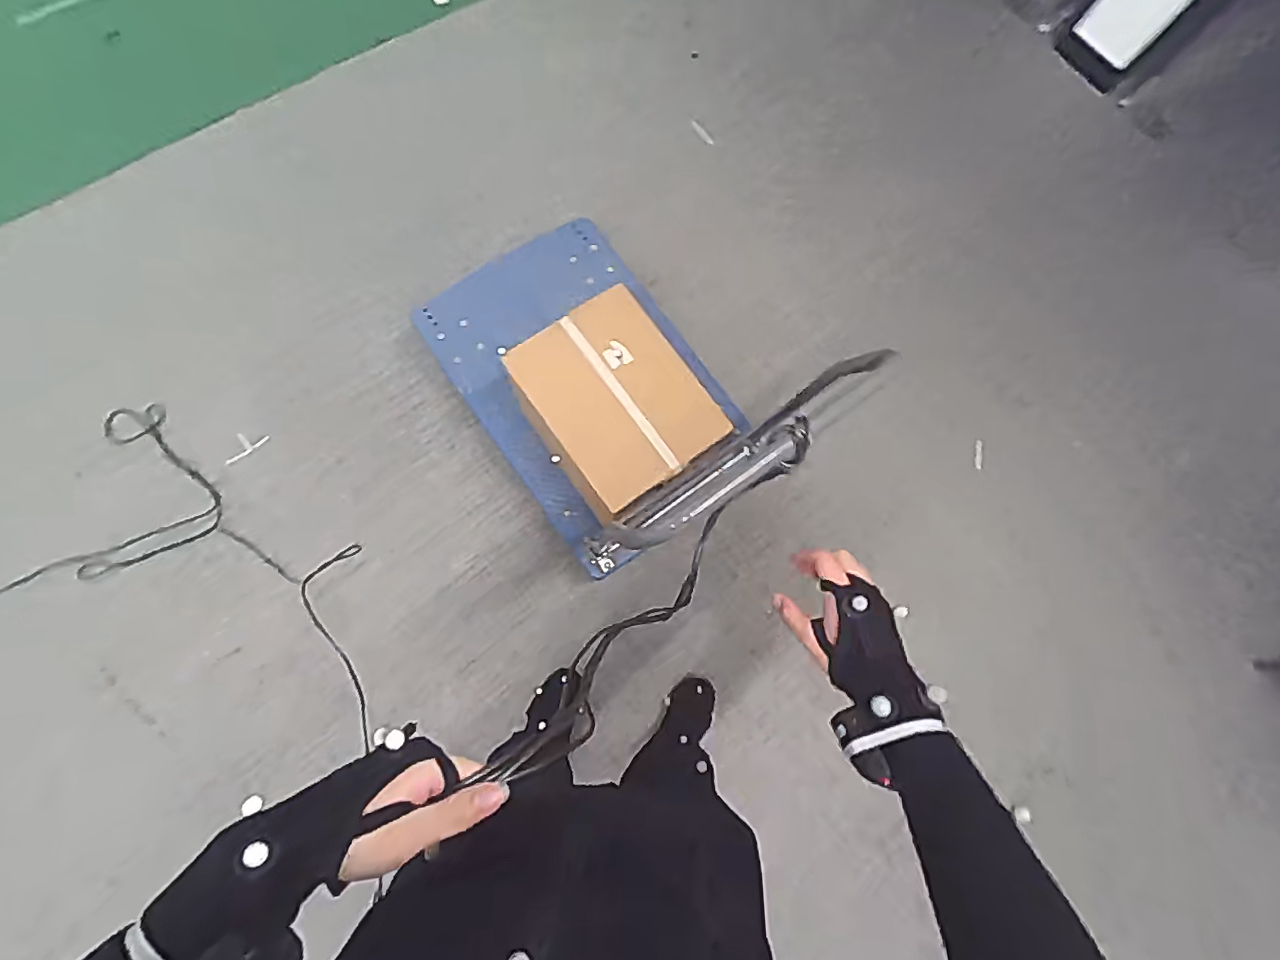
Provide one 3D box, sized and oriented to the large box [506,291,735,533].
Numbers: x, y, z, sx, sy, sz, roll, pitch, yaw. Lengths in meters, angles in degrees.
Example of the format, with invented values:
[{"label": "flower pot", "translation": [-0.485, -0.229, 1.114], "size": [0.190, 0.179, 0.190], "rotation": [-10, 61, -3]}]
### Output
[{"label": "large box", "translation": [-0.048, -0.137, 1.260], "size": [0.320, 0.320, 0.408], "rotation": [-35, 81, -12]}]
